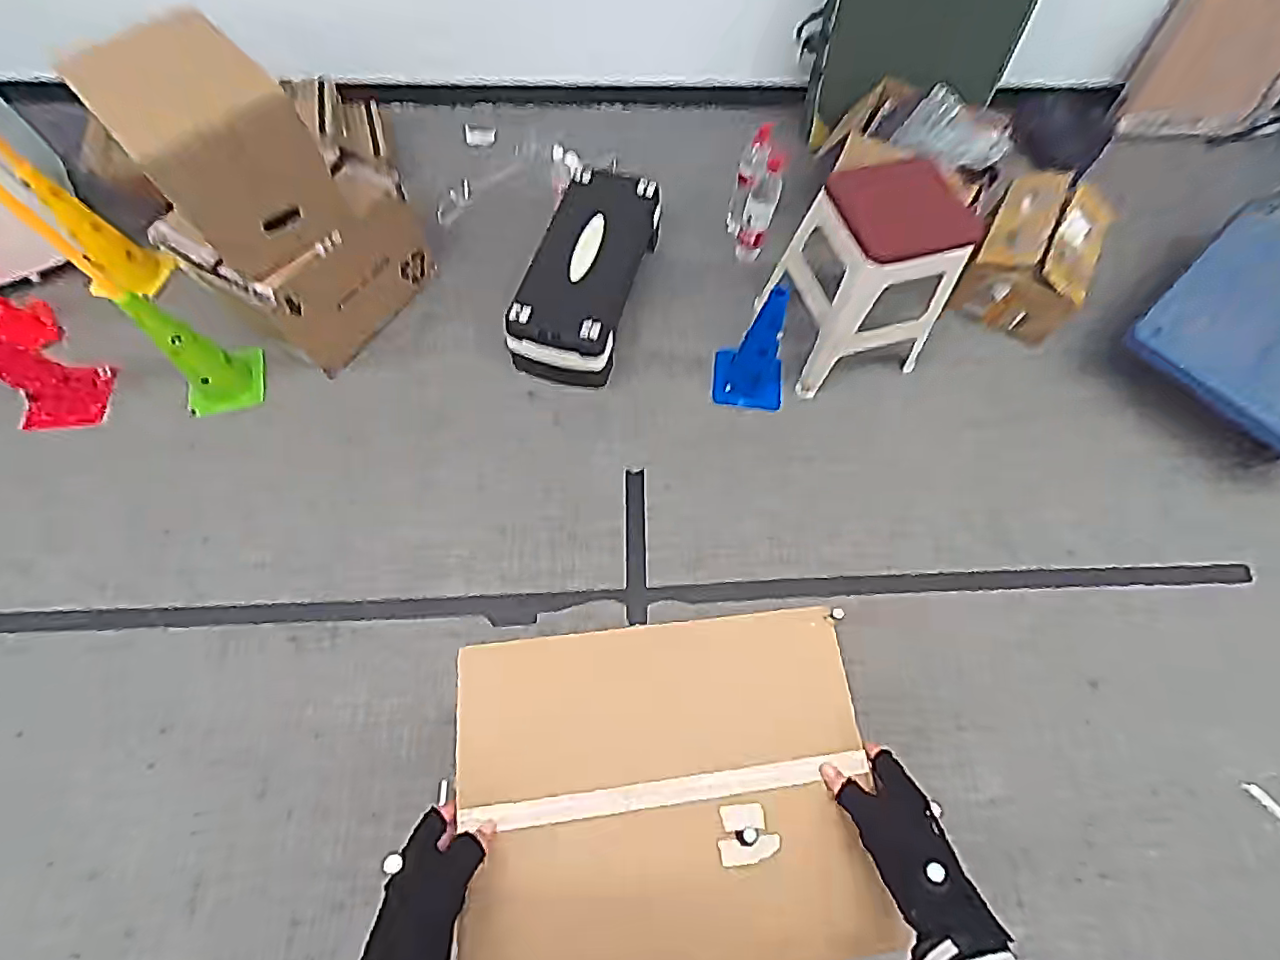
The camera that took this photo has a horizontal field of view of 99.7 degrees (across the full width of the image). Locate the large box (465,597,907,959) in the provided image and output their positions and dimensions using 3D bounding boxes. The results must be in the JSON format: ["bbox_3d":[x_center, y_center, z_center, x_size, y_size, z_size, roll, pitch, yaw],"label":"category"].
[{"bbox_3d":[0.022,0.346,0.667,0.408,0.320,0.320,-5,70,-7],"label":"large box"}]
